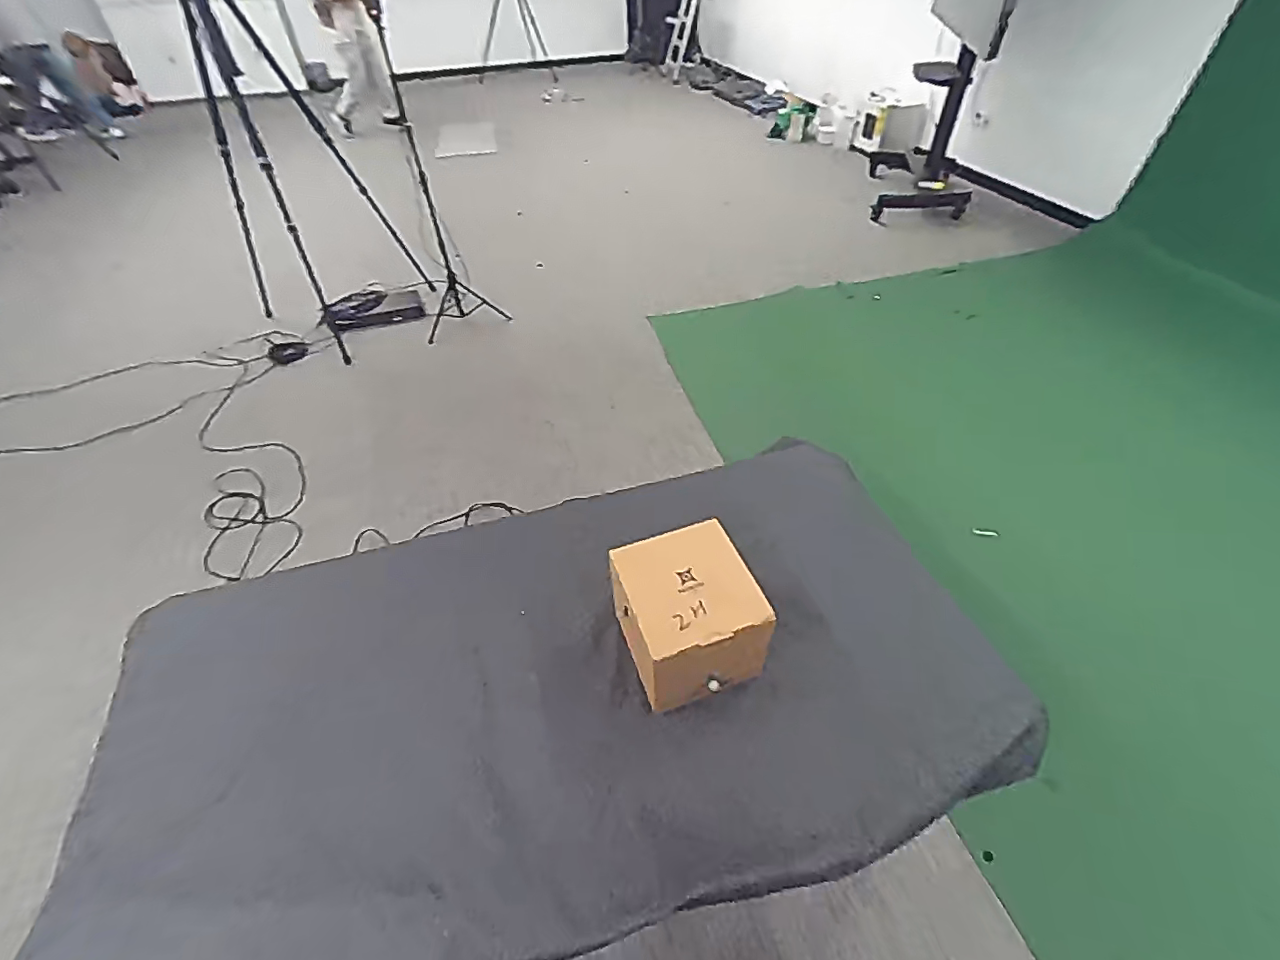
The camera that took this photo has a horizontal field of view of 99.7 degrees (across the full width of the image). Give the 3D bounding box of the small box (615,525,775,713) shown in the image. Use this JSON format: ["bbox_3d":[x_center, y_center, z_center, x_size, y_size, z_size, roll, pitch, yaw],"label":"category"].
[{"bbox_3d":[0.068,0.198,0.773,0.168,0.176,0.179,-15,48,-12],"label":"small box"}]
